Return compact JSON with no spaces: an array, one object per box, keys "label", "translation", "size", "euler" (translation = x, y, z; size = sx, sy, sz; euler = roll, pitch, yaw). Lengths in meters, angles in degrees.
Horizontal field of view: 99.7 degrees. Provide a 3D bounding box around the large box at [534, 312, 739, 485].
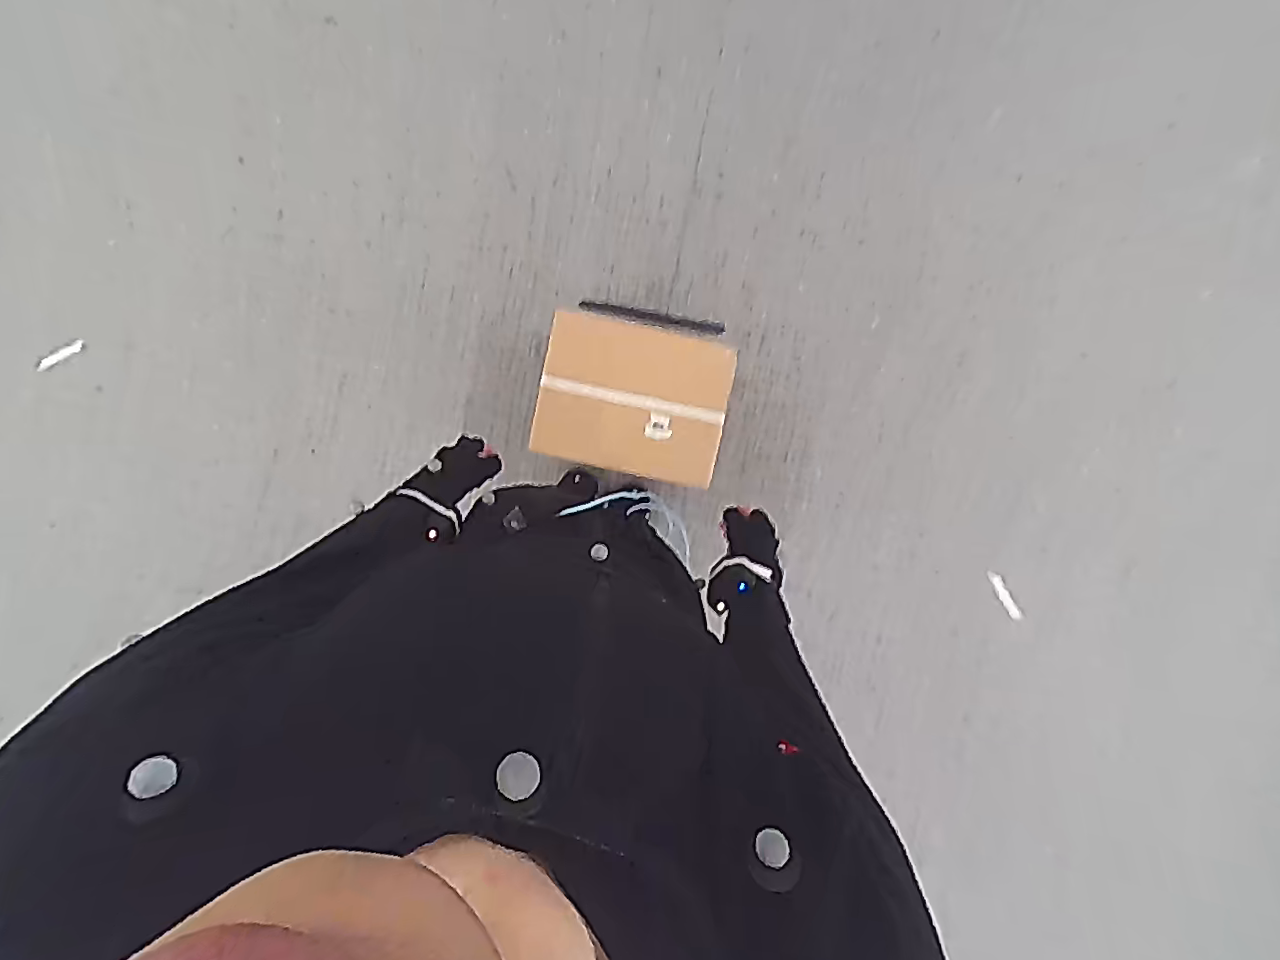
[{"label":"large box","translation":[-0.014,-0.183,1.323],"size":[0.408,0.320,0.320],"euler":[12,94,-2]}]
